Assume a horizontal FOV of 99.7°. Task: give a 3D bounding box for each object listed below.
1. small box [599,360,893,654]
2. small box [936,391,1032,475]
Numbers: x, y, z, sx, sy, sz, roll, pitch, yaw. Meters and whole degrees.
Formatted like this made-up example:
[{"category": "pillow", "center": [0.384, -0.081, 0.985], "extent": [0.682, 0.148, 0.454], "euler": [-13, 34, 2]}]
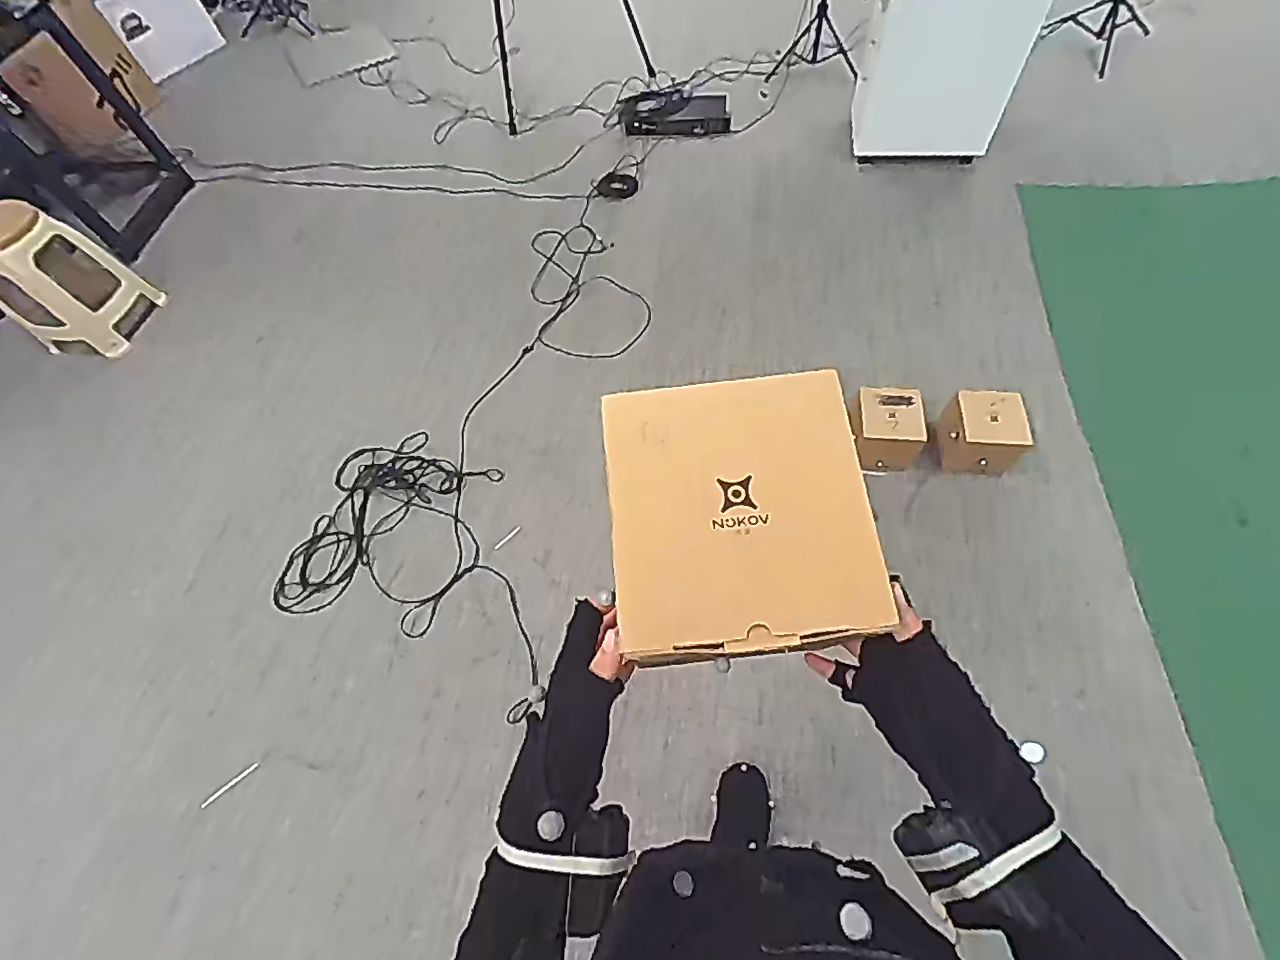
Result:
[{"category": "small box", "center": [0.062, 0.033, 0.418], "extent": [0.168, 0.176, 0.179], "euler": [-7, 70, 1]}, {"category": "small box", "center": [0.961, -0.130, 1.526], "extent": [0.168, 0.176, 0.179], "euler": [4, 61, 8]}]
